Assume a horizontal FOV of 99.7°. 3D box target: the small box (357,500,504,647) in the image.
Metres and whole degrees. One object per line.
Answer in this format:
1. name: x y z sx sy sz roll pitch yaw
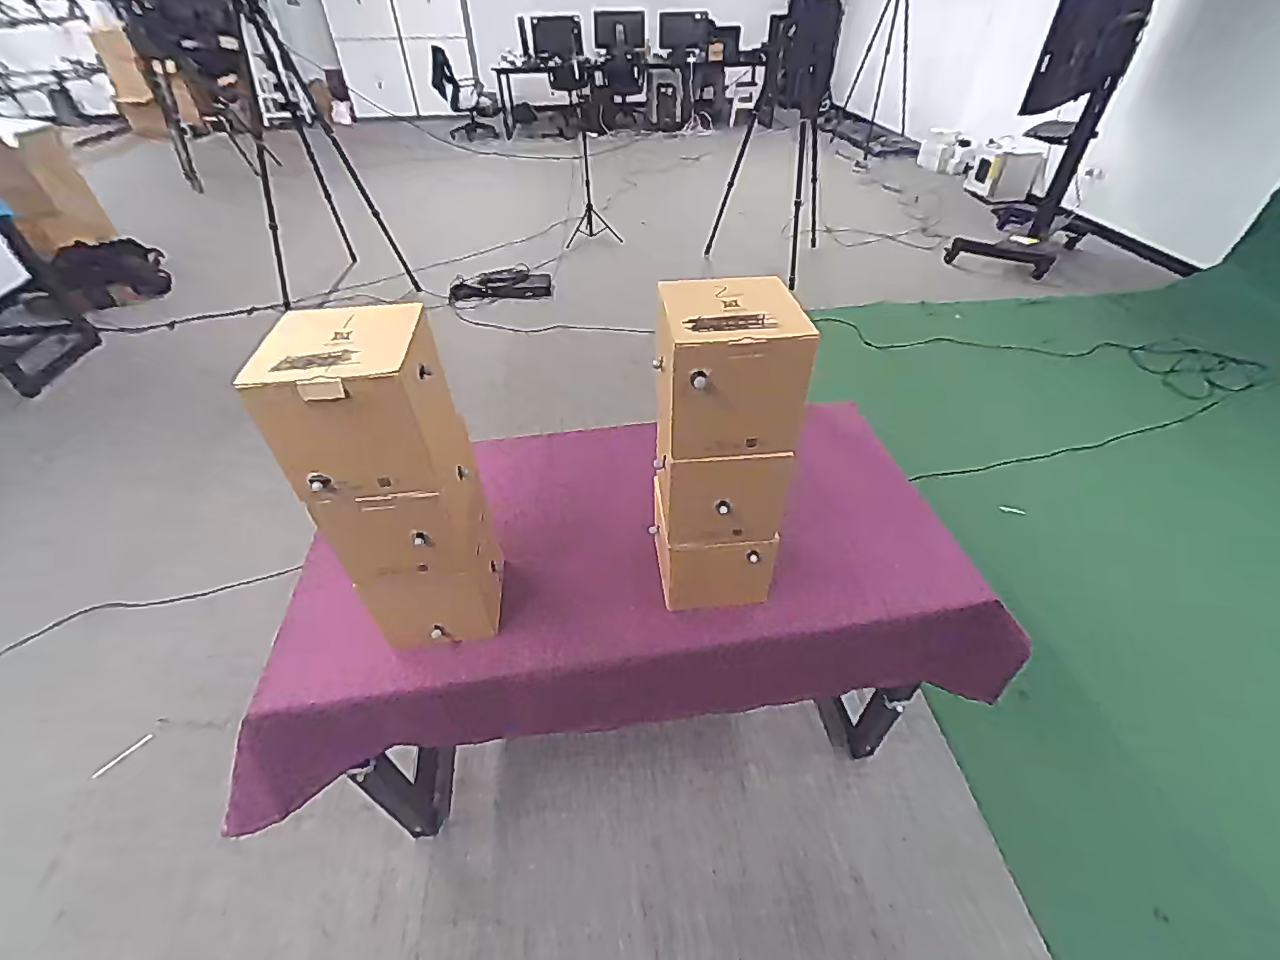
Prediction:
1. small box: -0.327 0.154 0.888 0.179 0.176 0.168 -5 42 -4

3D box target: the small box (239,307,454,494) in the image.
1. small box: -0.341 -0.095 0.675 0.168 0.176 0.179 -6 42 -6

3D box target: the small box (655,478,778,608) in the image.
1. small box: 0.121 0.103 0.927 0.179 0.176 0.168 -5 42 -3

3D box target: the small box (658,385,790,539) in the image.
1. small box: 0.116 -0.022 0.820 0.168 0.176 0.179 -3 42 -2

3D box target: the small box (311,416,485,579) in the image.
1. small box: -0.330 0.029 0.782 0.168 0.176 0.179 -4 42 -3
